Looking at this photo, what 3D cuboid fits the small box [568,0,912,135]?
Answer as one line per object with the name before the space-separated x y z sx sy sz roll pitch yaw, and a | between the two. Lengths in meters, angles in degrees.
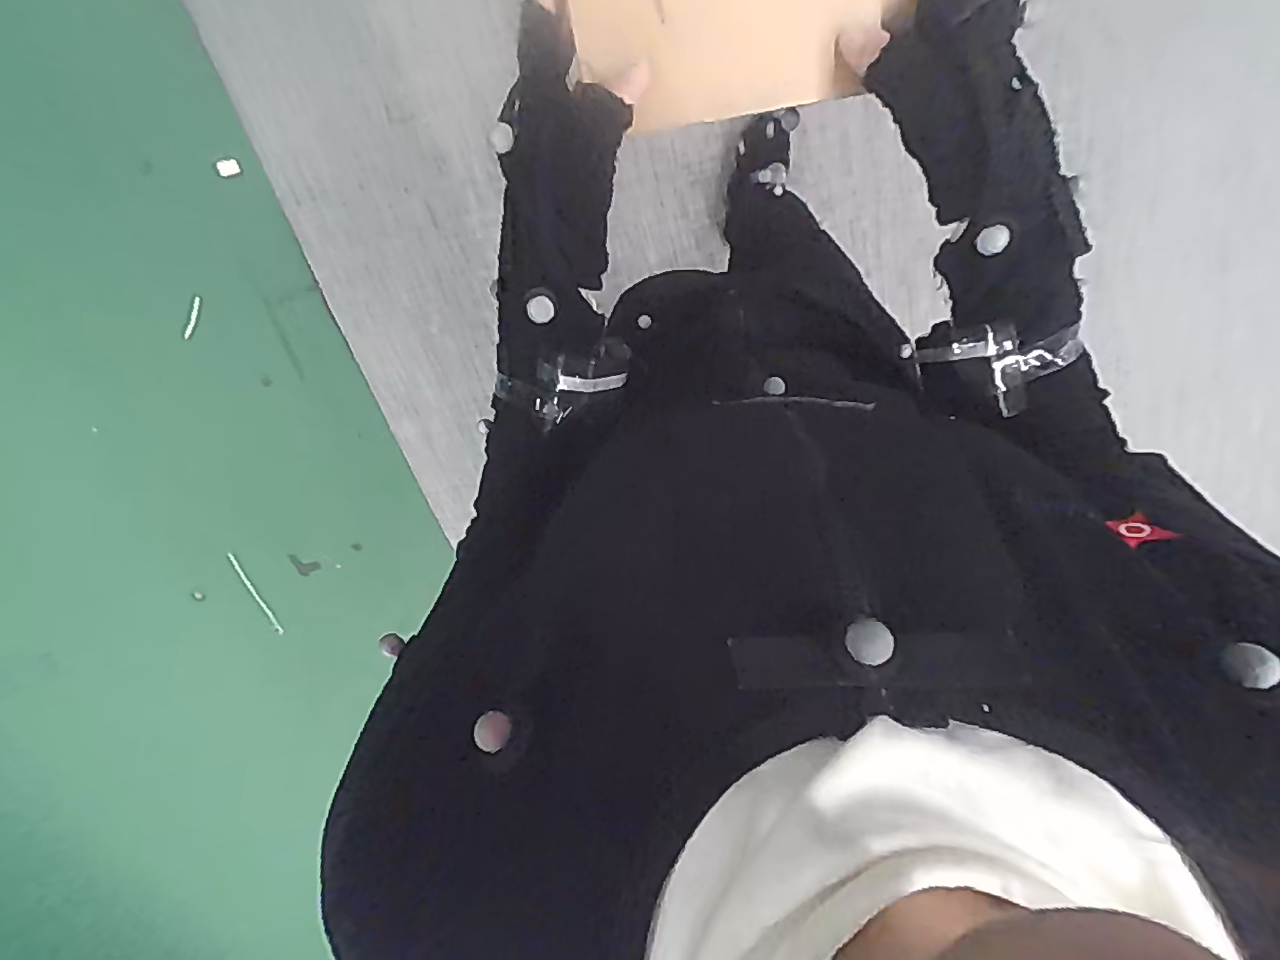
small box | 0.043 -0.319 0.319 0.179 0.176 0.168 -9 123 5
